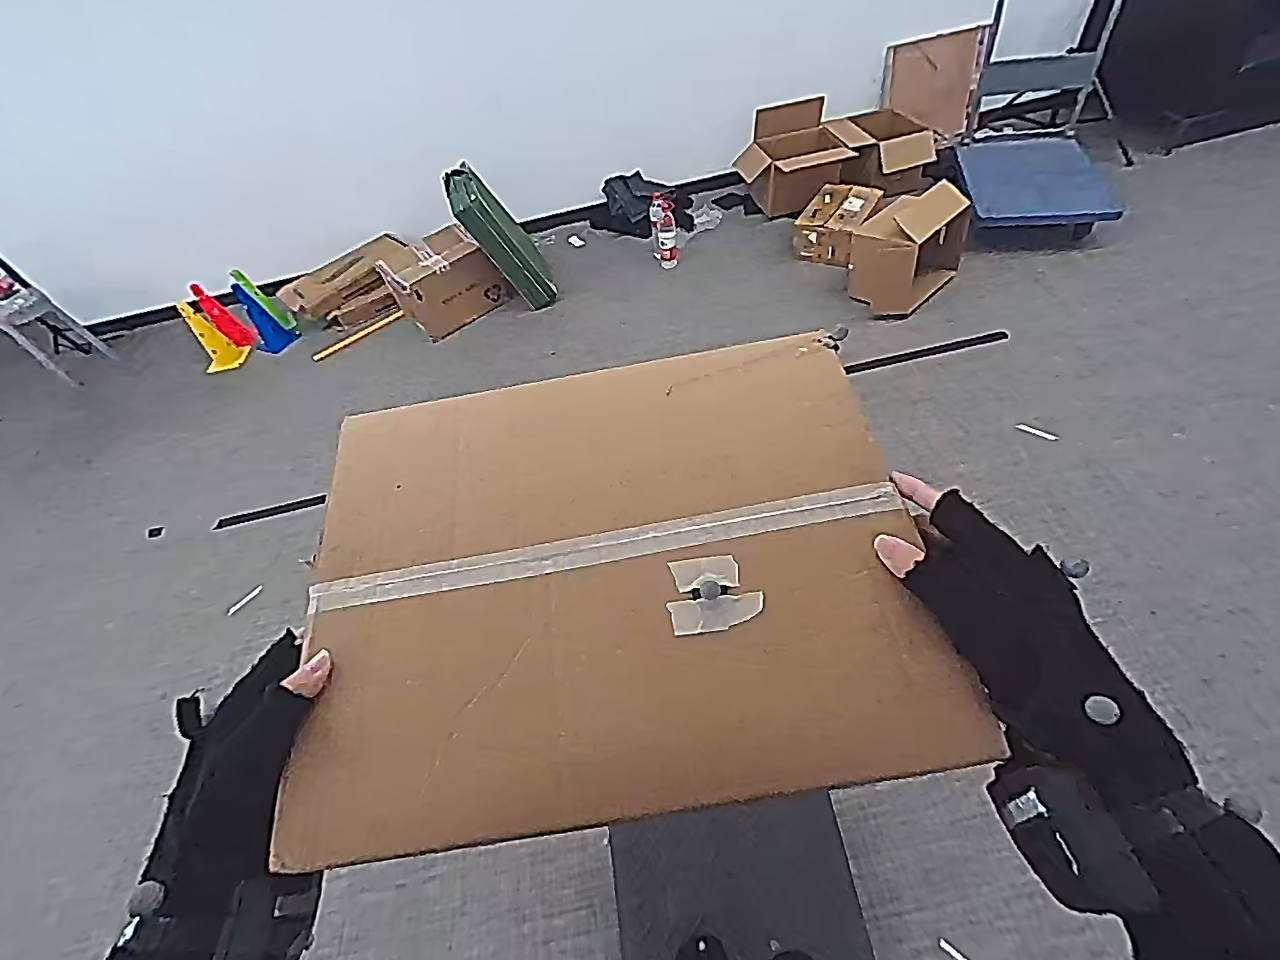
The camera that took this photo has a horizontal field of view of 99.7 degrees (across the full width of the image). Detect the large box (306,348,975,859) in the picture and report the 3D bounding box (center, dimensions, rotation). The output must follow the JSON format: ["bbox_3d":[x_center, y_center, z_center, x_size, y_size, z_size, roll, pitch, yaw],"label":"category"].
[{"bbox_3d":[-0.009,0.127,0.513,0.408,0.320,0.320,-10,61,1],"label":"large box"}]
